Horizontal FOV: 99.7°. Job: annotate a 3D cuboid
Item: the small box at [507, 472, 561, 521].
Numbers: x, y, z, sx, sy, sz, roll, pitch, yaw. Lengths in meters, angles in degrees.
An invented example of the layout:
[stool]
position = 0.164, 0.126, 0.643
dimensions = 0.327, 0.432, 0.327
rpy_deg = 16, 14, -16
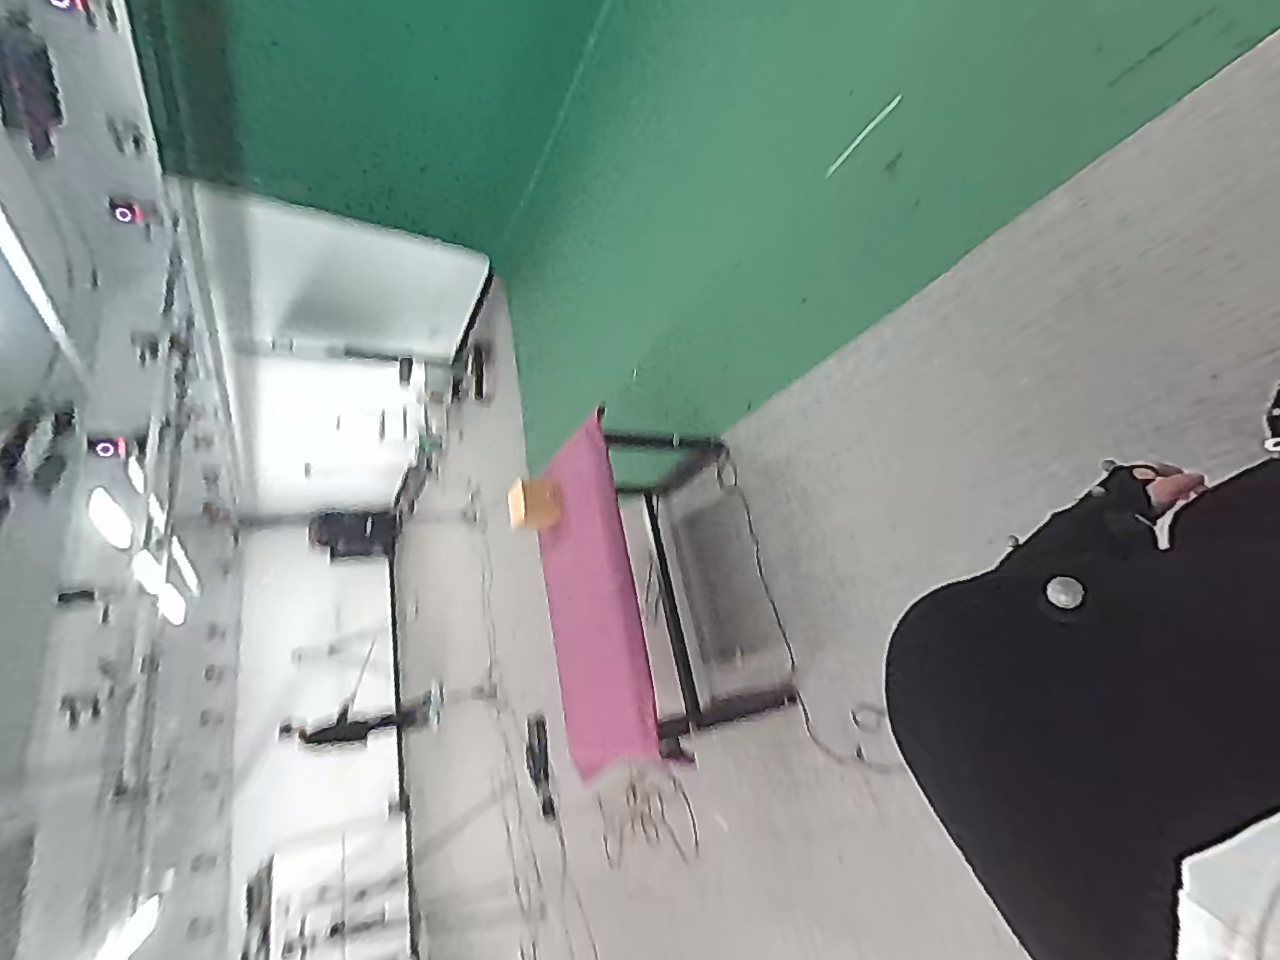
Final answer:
[small box]
position = -0.457, 0.074, 2.327
dimensions = 0.179, 0.176, 0.168
rpy_deg = -36, 62, 51
